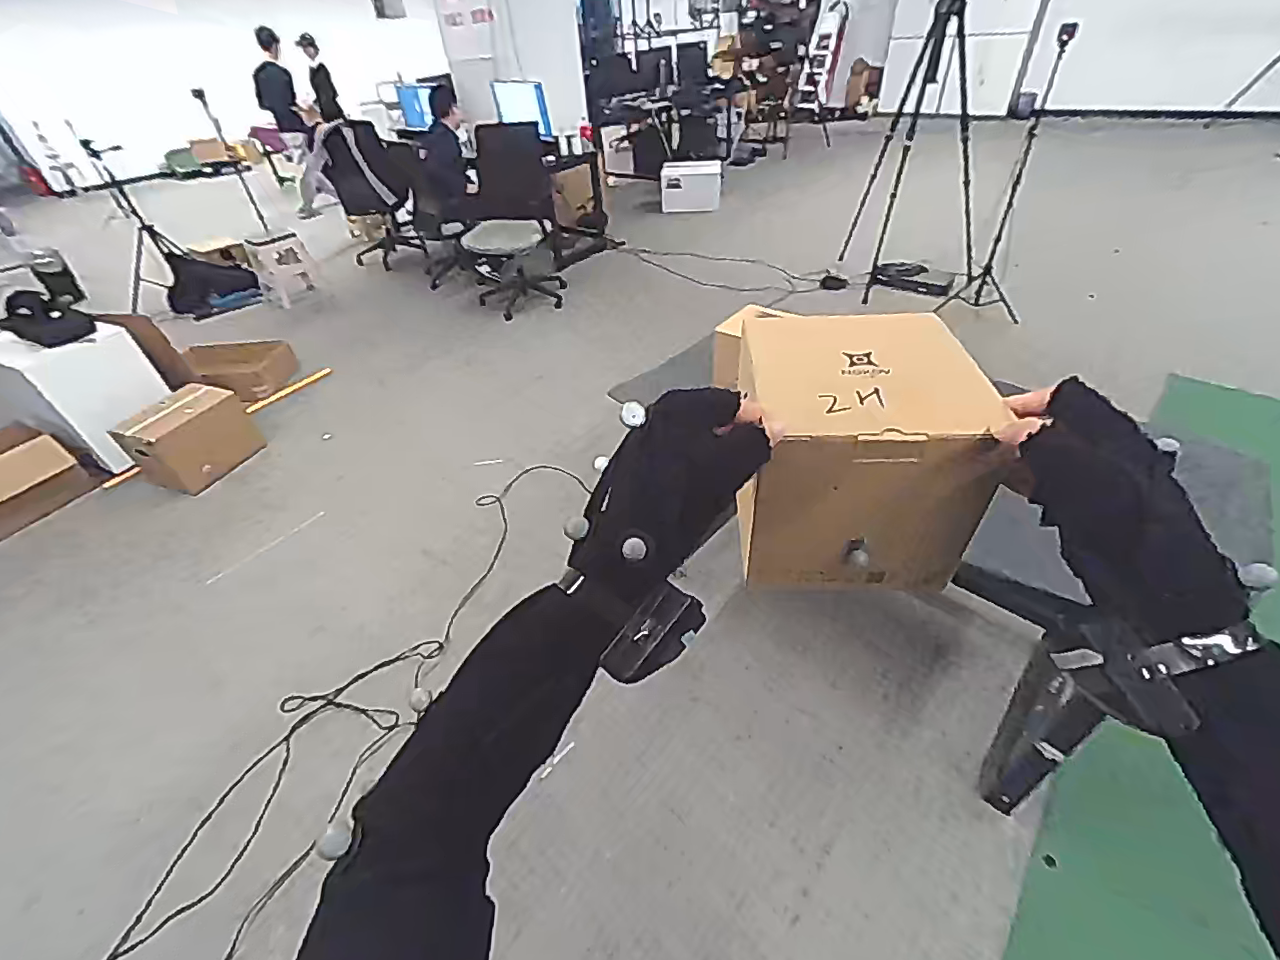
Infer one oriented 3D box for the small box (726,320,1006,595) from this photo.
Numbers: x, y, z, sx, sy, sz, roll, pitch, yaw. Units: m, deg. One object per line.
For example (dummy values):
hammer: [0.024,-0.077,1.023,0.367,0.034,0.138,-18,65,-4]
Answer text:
small box: [0.165,-0.023,0.469,0.168,0.176,0.179,0,42,5]
